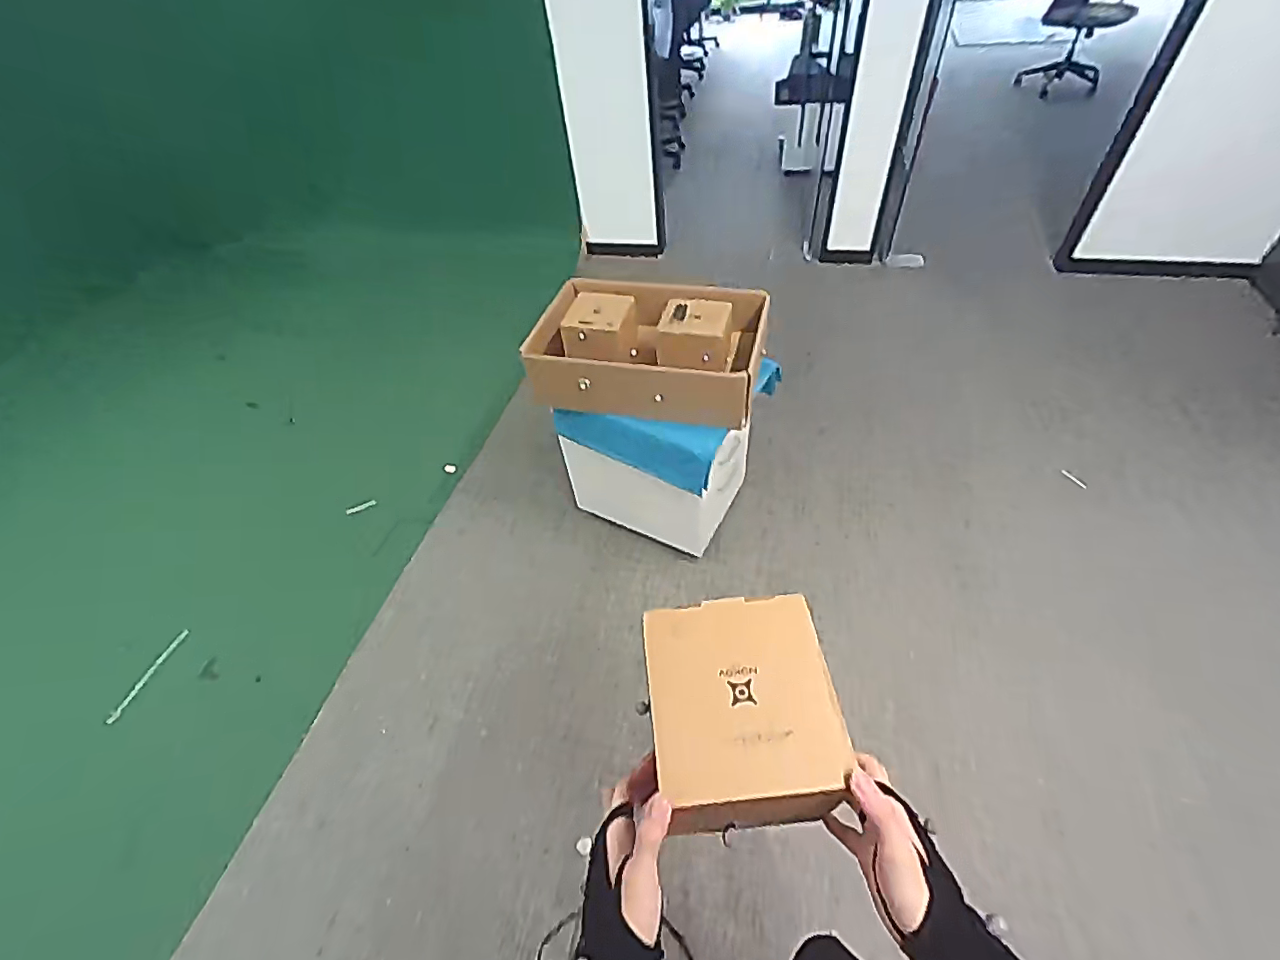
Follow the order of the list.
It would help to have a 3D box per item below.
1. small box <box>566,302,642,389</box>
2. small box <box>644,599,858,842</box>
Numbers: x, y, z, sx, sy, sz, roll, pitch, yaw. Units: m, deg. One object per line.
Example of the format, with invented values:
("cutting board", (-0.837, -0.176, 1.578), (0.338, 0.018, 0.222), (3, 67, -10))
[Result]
("small box", (-0.094, -0.387, 1.549), (0.168, 0.176, 0.179), (9, 48, 14))
("small box", (0.092, 0.243, 0.545), (0.168, 0.176, 0.179), (-5, 49, 0))
